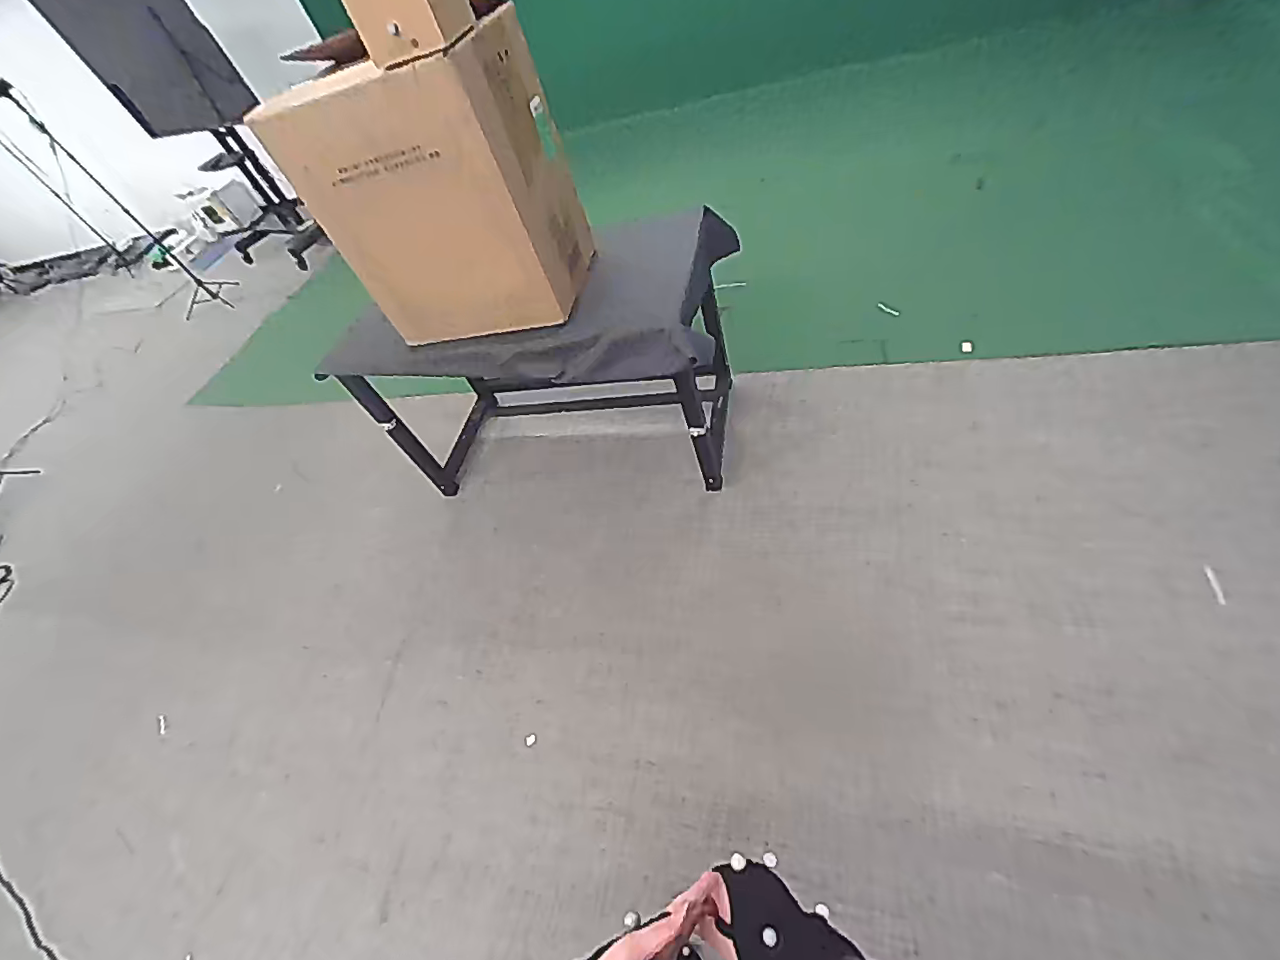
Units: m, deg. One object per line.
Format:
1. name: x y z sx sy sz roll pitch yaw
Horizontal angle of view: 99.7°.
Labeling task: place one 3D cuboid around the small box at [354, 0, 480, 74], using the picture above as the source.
1. small box: -0.435 -0.925 1.047 0.168 0.176 0.179 -2 53 17
